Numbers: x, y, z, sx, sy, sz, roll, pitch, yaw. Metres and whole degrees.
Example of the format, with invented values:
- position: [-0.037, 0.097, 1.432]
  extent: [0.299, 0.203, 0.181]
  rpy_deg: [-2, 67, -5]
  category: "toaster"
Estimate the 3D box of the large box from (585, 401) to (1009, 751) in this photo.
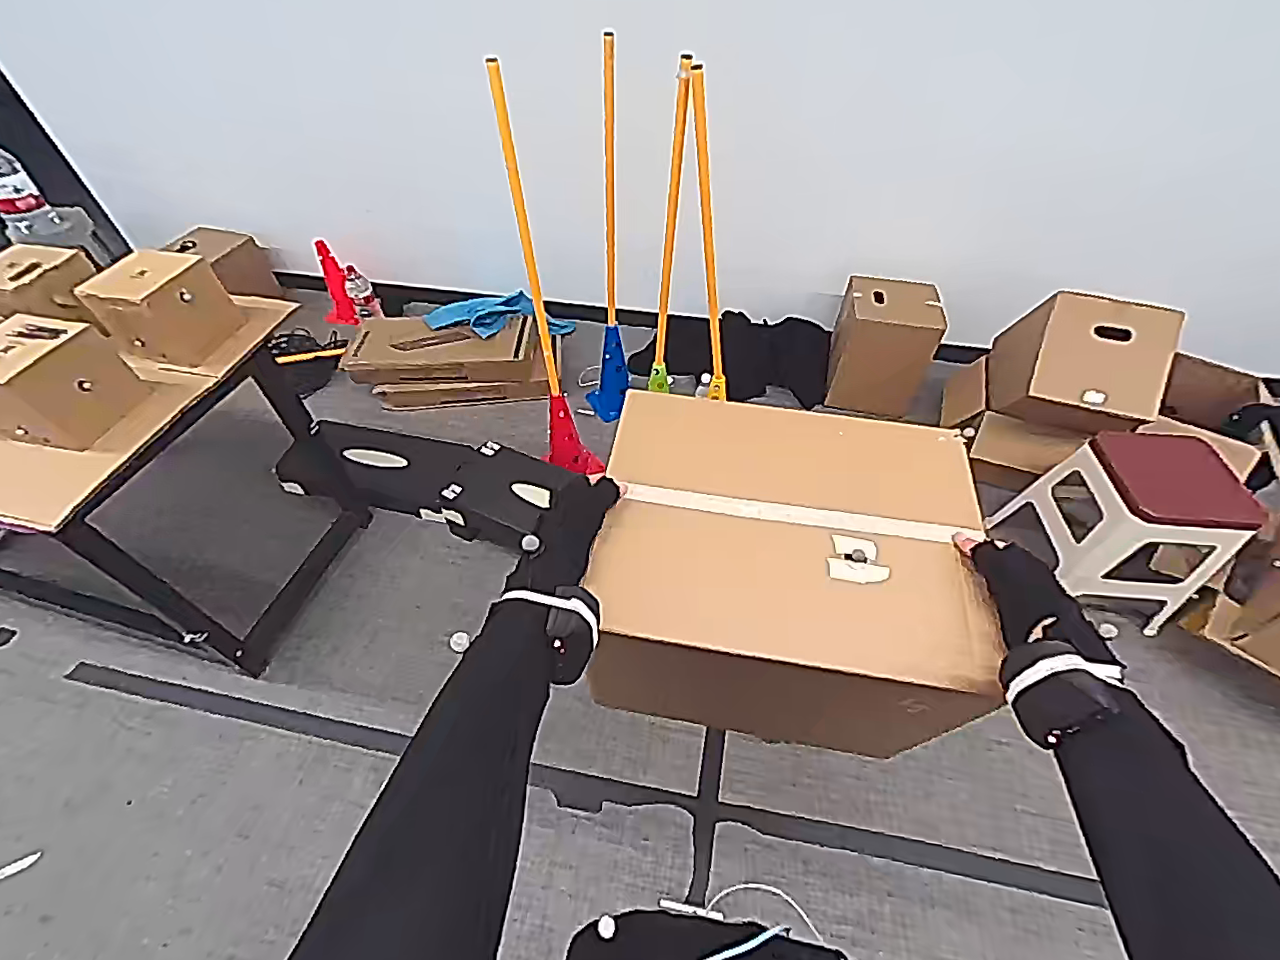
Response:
- position: [0.162, 0.132, 0.710]
  extent: [0.408, 0.320, 0.320]
  rpy_deg: [8, 56, 6]
  category: "large box"
